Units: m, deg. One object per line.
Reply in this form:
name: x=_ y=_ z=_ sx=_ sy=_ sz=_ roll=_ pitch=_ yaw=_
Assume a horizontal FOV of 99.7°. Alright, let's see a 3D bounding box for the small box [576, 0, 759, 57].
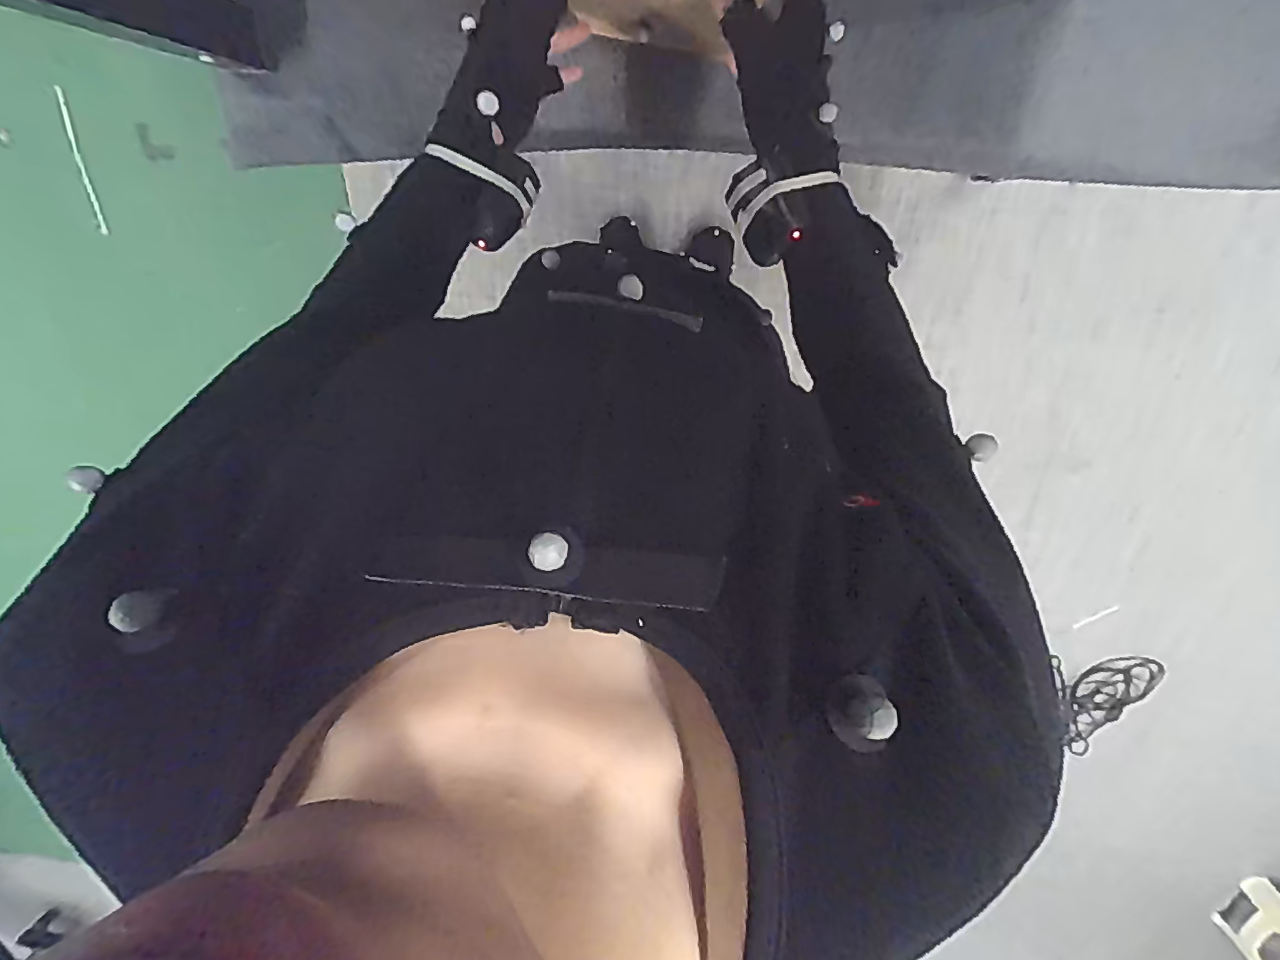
small box: x=0.028 y=-0.476 z=0.427 sx=0.168 sy=0.176 sz=0.179 roll=11 pitch=117 yaw=0
